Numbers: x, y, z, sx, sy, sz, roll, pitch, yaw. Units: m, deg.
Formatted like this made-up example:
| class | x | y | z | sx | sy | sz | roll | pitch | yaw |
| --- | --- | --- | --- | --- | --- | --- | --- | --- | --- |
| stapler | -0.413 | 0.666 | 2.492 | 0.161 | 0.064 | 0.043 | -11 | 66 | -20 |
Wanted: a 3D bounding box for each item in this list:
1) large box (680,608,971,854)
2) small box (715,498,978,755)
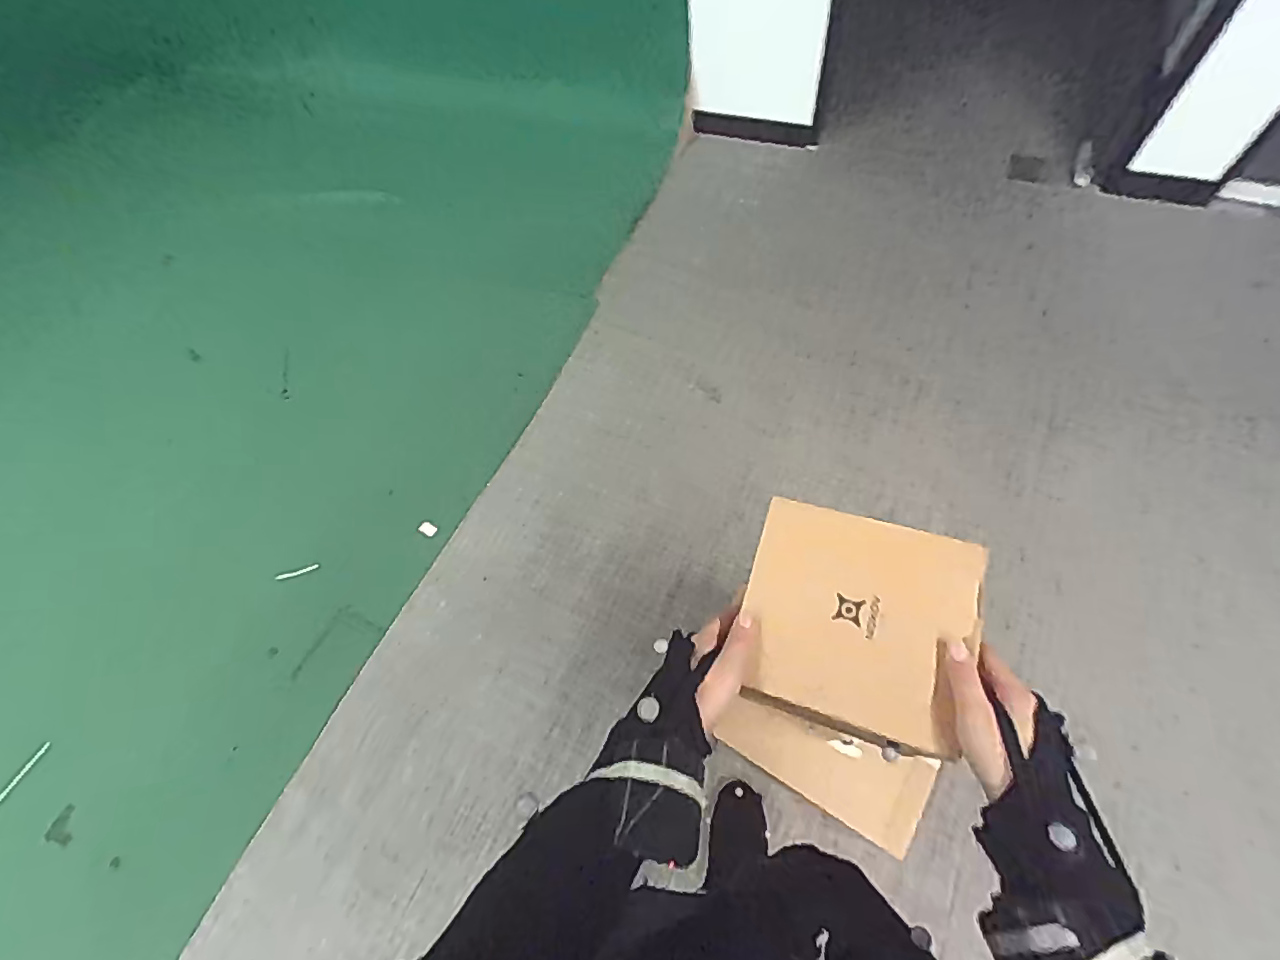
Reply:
| class | x | y | z | sx | sy | sz | roll | pitch | yaw |
| --- | --- | --- | --- | --- | --- | --- | --- | --- | --- |
| large box | 0.325 | 0.425 | 1.049 | 0.408 | 0.320 | 0.320 | 27 | 71 | 19 |
| small box | 0.180 | 0.138 | 0.500 | 0.179 | 0.176 | 0.168 | 13 | 69 | 18 |
